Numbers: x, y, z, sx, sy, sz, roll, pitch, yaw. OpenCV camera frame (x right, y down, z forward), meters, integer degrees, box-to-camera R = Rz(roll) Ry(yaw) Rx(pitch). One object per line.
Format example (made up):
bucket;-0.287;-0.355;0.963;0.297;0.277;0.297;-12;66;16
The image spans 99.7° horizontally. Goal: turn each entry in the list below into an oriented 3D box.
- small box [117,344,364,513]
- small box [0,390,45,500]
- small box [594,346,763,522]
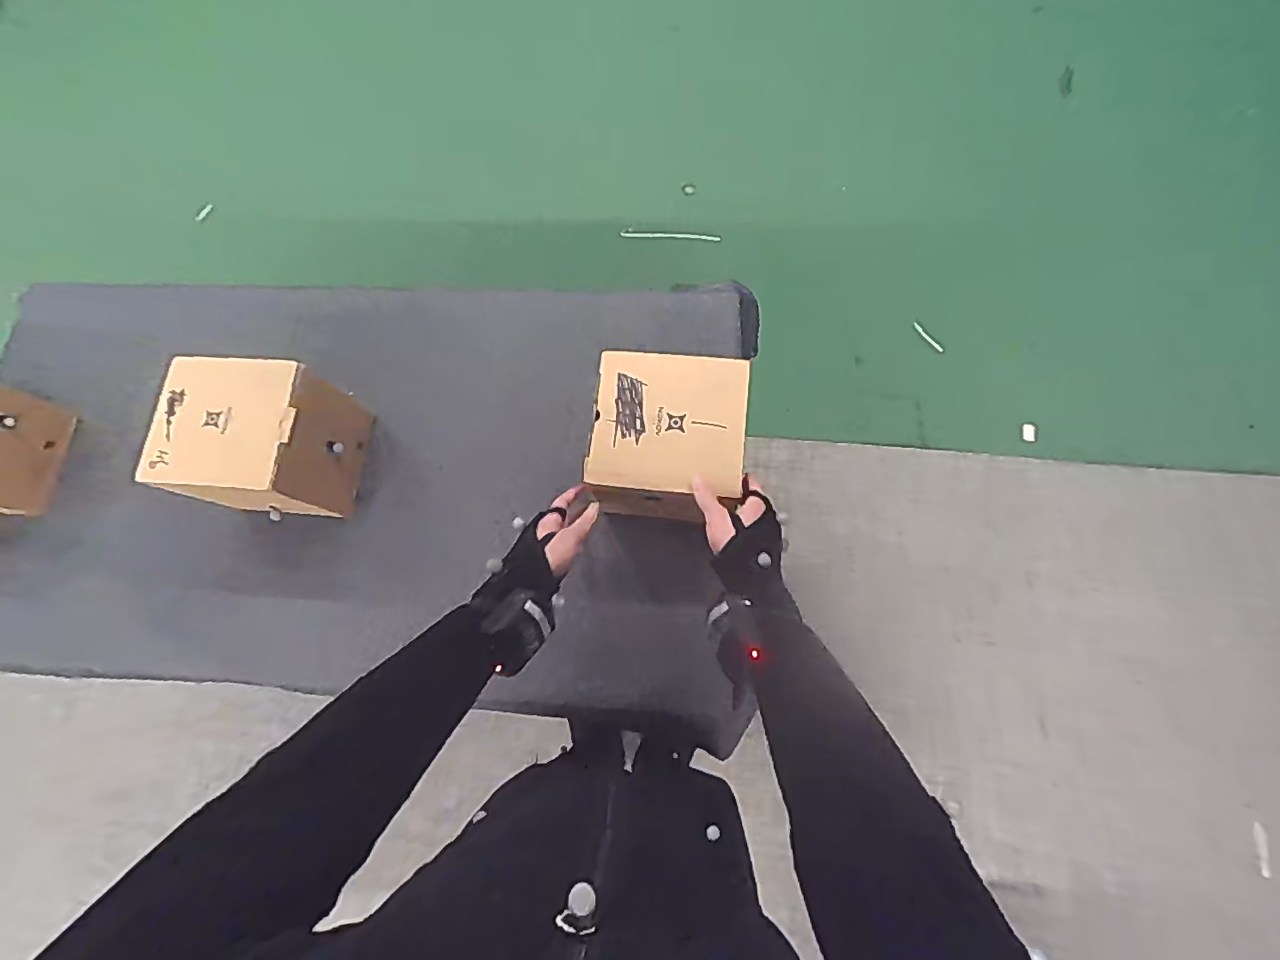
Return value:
small box;-0.492;-0.056;0.700;0.179;0.176;0.168;5;74;2
small box;-0.973;-0.059;0.714;0.179;0.176;0.168;2;73;3
small box;0.047;-0.048;0.679;0.179;0.176;0.168;6;75;3
